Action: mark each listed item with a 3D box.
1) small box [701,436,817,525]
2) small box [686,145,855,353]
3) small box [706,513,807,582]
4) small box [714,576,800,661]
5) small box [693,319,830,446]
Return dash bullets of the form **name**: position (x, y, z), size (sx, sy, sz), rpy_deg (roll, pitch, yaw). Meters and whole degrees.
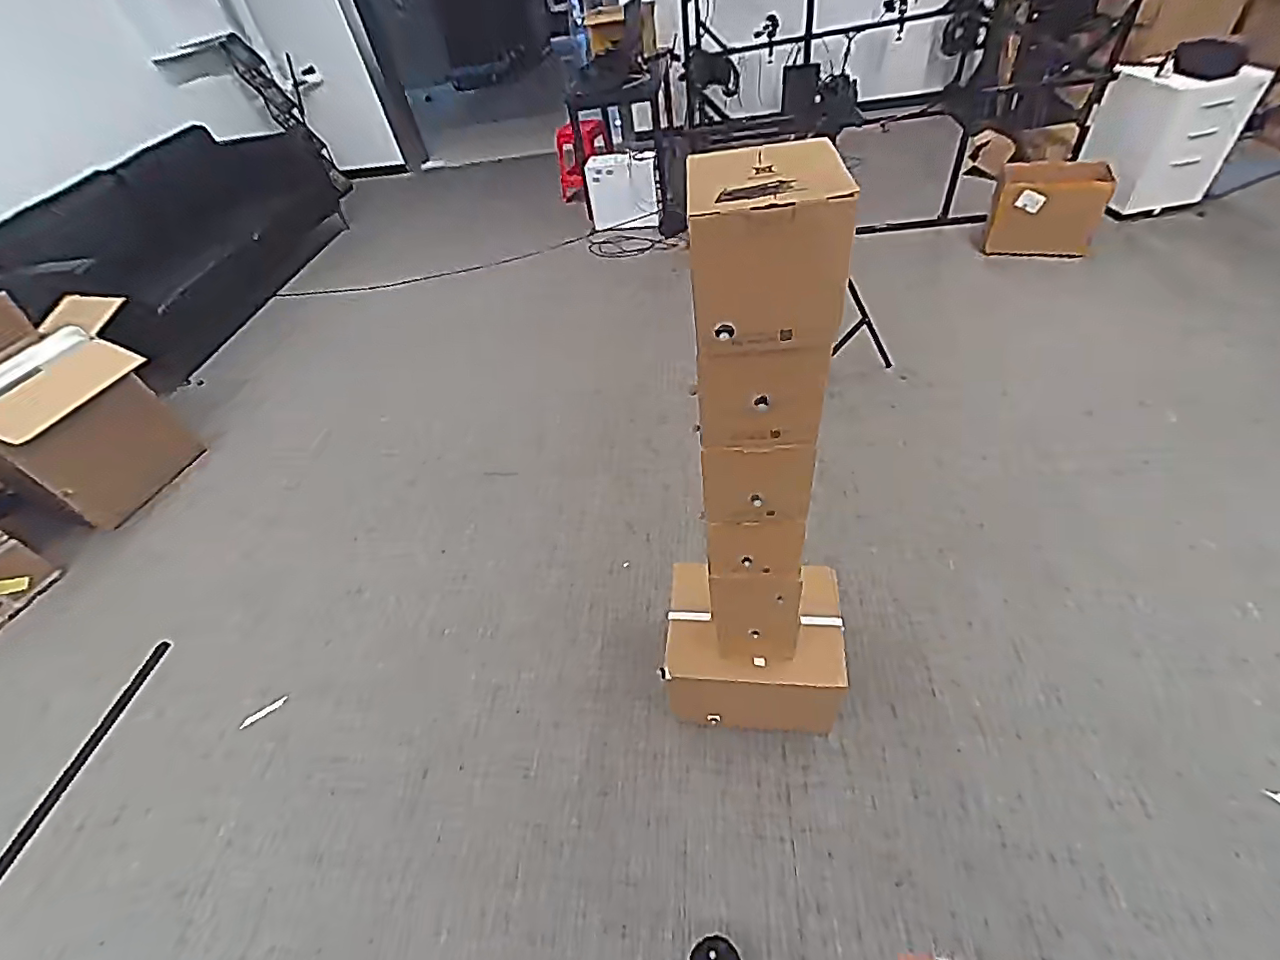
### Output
- **small box**: position (0.185, -0.046, 0.881), size (0.168, 0.176, 0.179), rpy_deg (-3, 48, 9)
- **small box**: position (0.144, -0.263, 0.638), size (0.168, 0.176, 0.179), rpy_deg (-3, 47, 8)
- **small box**: position (0.208, 0.068, 0.997), size (0.168, 0.176, 0.179), rpy_deg (-2, 48, 9)
- **small box**: position (0.259, 0.298, 1.224), size (0.179, 0.176, 0.168), rpy_deg (-1, 48, 8)
- **small box**: position (0.164, -0.160, 0.766), size (0.168, 0.176, 0.179), rpy_deg (-3, 48, 8)
